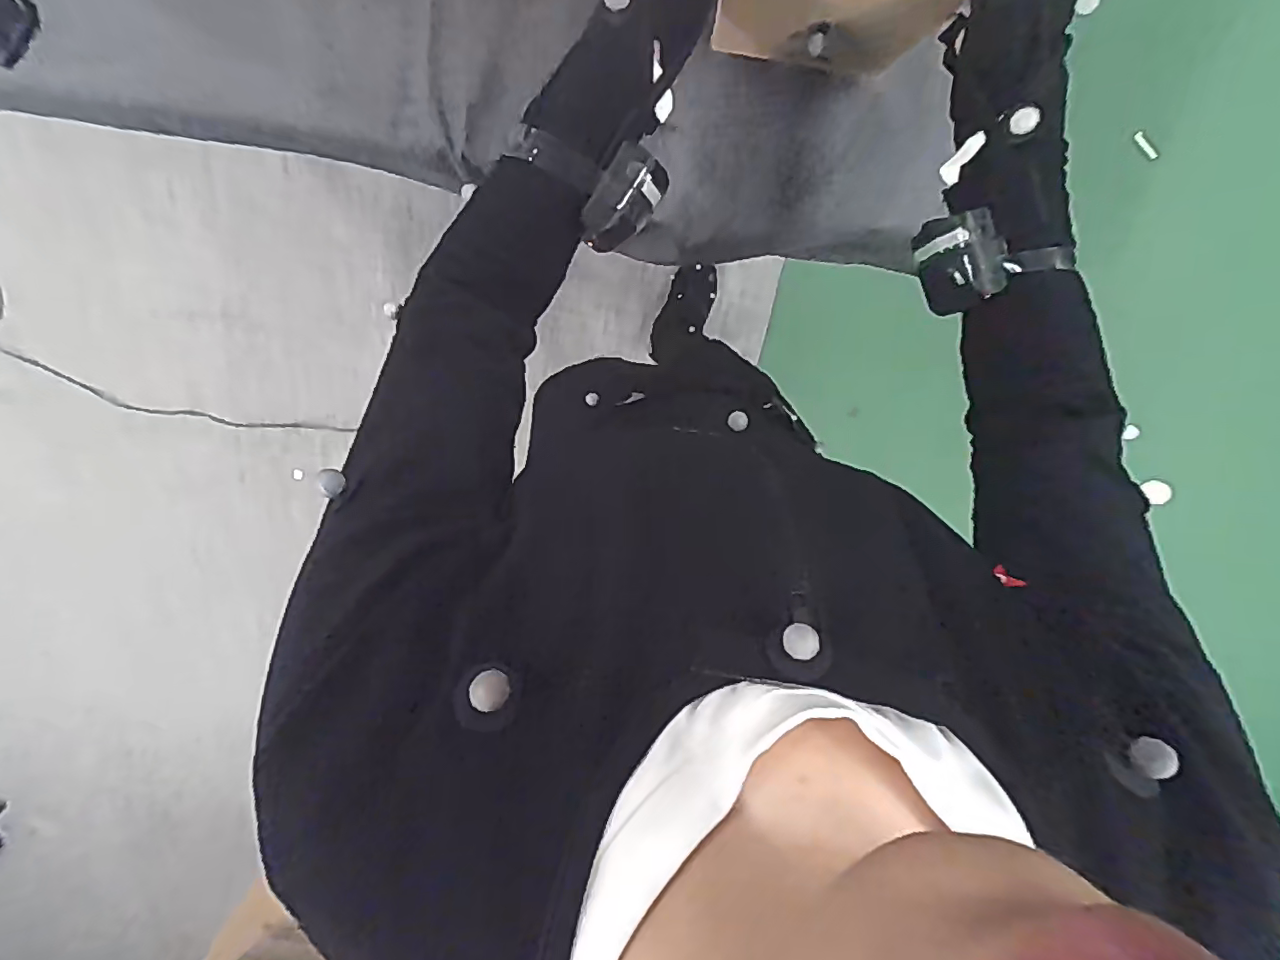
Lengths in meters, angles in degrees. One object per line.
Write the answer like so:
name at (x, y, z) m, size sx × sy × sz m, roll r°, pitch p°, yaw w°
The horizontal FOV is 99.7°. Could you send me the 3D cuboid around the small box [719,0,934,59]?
small box at (0.159, -0.454, 0.406) m, size 0.168 × 0.176 × 0.179 m, roll 8°, pitch 112°, yaw -2°
